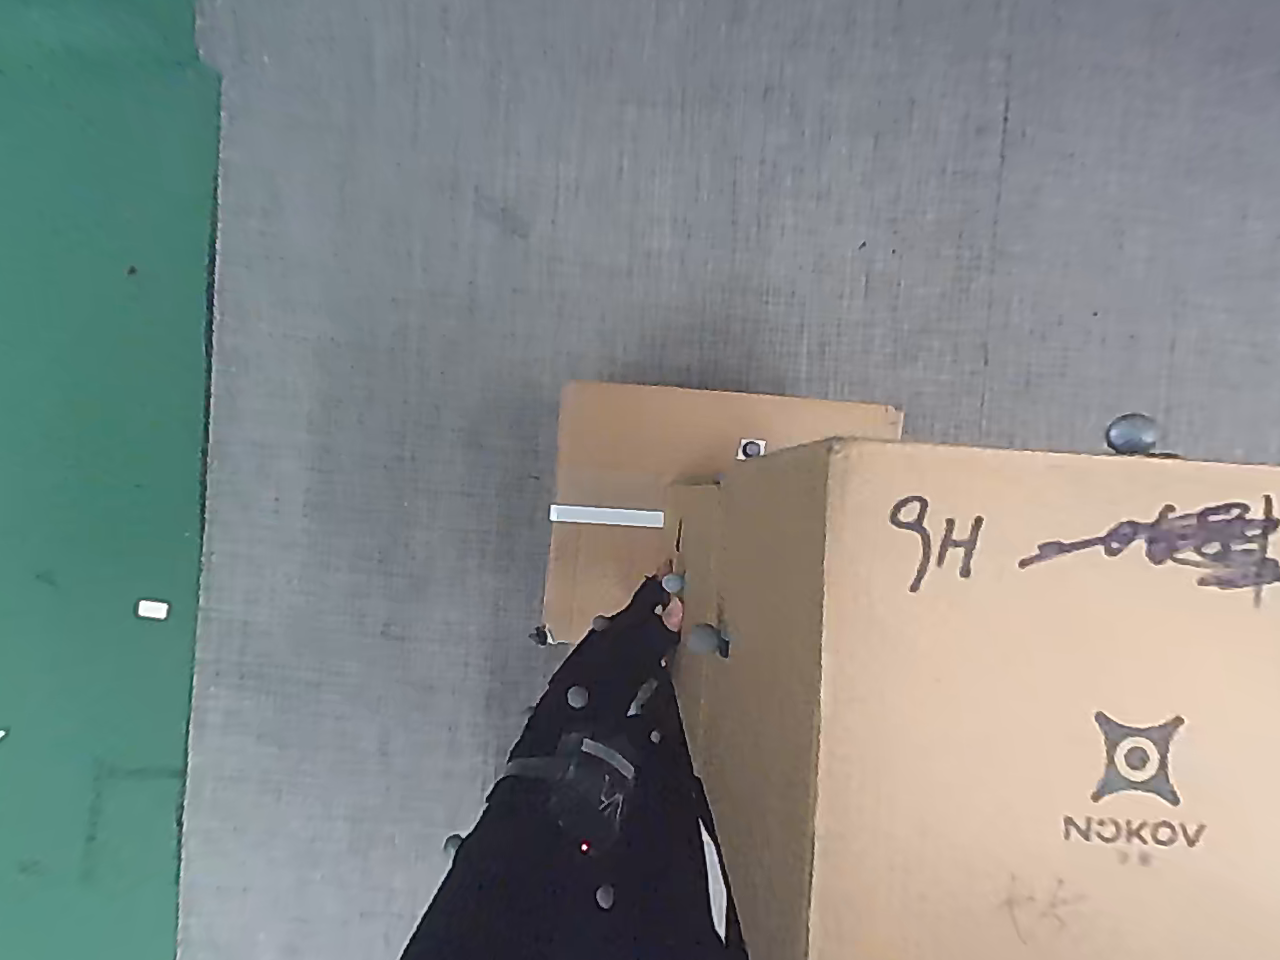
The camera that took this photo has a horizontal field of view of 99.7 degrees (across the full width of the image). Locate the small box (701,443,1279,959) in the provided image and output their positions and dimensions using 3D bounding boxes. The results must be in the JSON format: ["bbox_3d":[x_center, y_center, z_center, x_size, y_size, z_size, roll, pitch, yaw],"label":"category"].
[{"bbox_3d":[0.118,0.081,0.223,0.168,0.176,0.179,2,89,-1],"label":"small box"}]
